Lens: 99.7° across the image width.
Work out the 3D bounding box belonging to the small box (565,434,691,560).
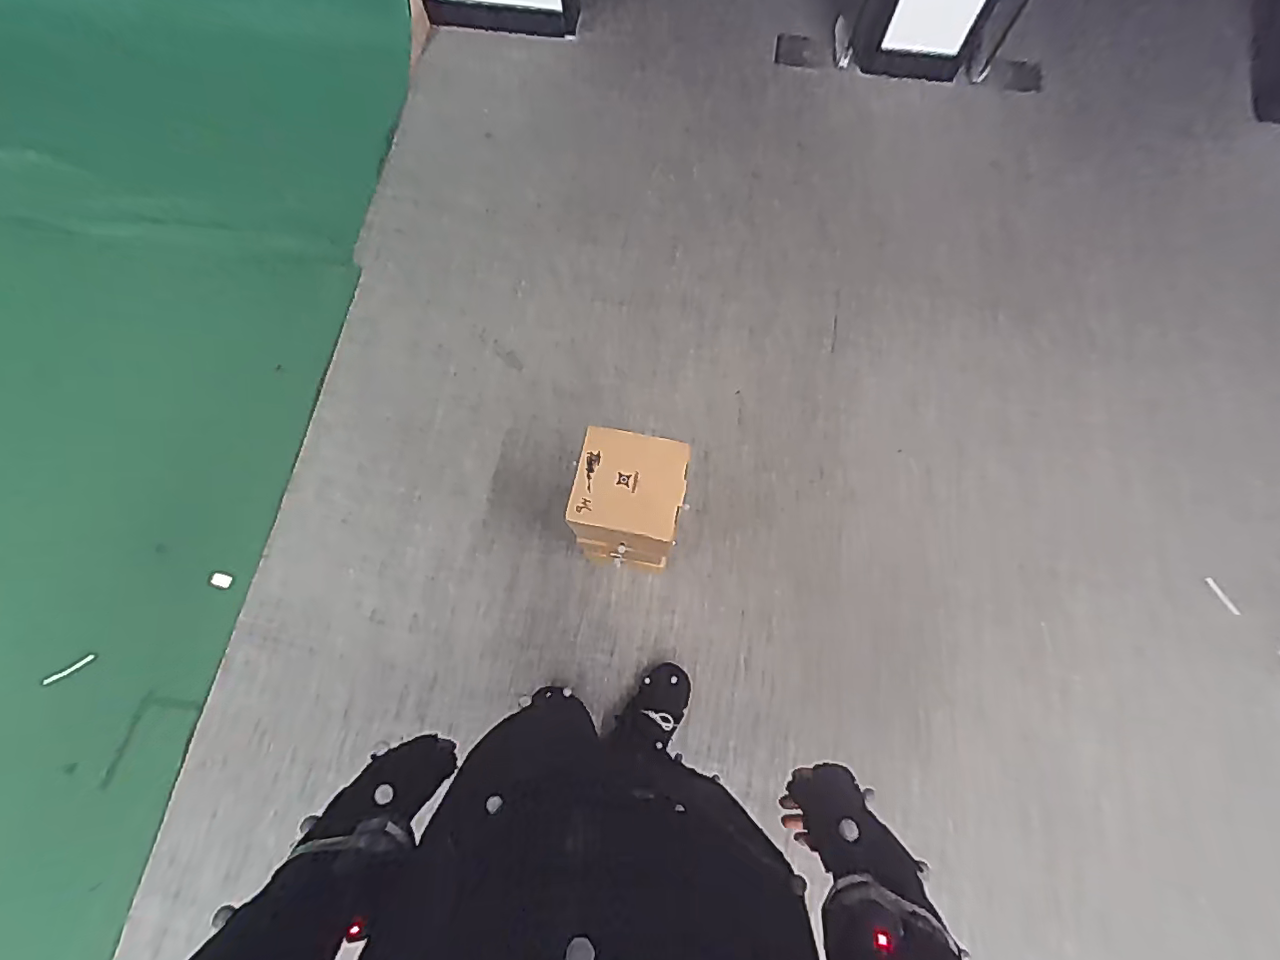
[{"bbox_3d":[-0.016,0.038,0.947,0.179,0.176,0.168,12,75,5],"label":"small box"}]

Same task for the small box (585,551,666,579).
[{"bbox_3d":[-0.020,0.136,1.275,0.179,0.176,0.168,10,75,3],"label":"small box"}]

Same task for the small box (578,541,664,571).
[{"bbox_3d":[-0.020,0.081,1.105,0.168,0.176,0.179,9,76,5],"label":"small box"}]
